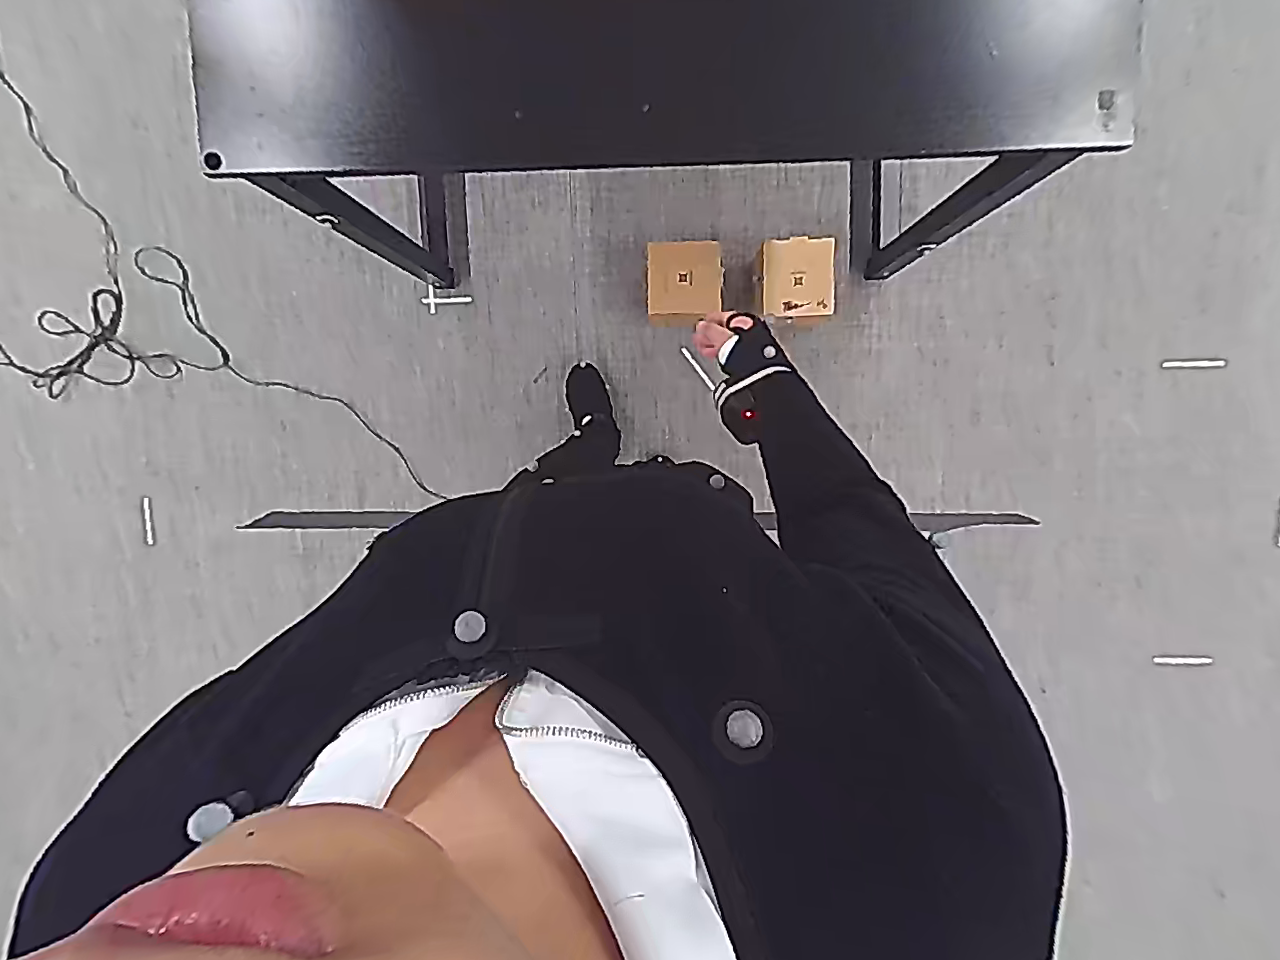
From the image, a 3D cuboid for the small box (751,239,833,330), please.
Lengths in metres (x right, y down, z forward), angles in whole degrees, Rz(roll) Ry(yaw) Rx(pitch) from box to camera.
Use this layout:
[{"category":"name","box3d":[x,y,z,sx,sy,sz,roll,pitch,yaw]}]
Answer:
[{"category":"small box","box3d":[0.368,-0.476,1.335,0.168,0.176,0.179,-1,96,3]}]

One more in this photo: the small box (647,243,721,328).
[{"category":"small box","box3d":[0.106,-0.479,1.348,0.179,0.176,0.168,-1,95,3]}]
